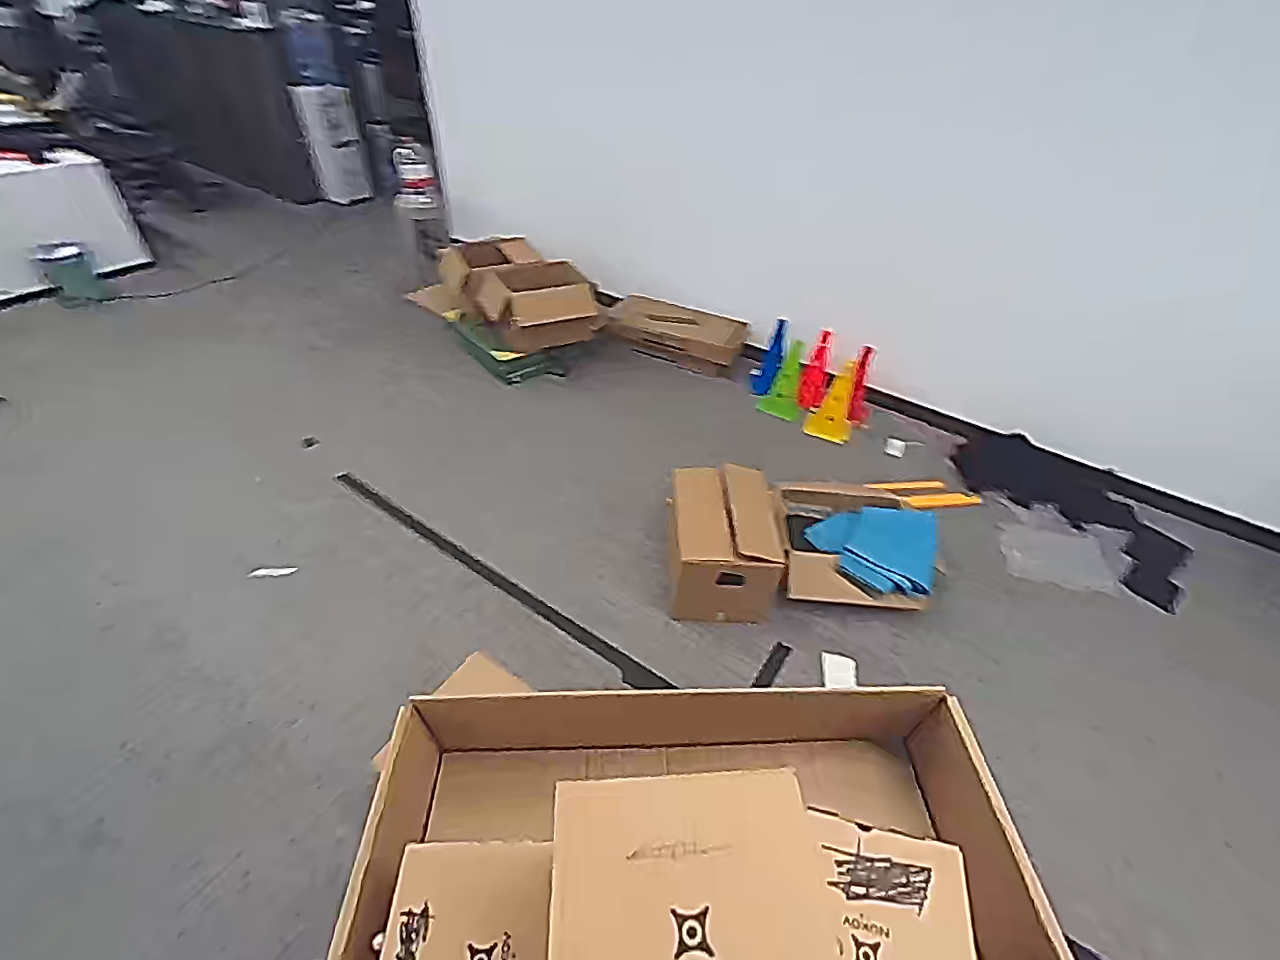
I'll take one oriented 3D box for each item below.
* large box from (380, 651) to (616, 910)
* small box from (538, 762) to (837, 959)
[{"bbox_3d":[-0.308,0.683,1.253,0.408,0.320,0.320,25,48,20],"label":"large box"},{"bbox_3d":[0.024,0.311,0.356,0.168,0.176,0.179,-2,44,-4],"label":"small box"}]
